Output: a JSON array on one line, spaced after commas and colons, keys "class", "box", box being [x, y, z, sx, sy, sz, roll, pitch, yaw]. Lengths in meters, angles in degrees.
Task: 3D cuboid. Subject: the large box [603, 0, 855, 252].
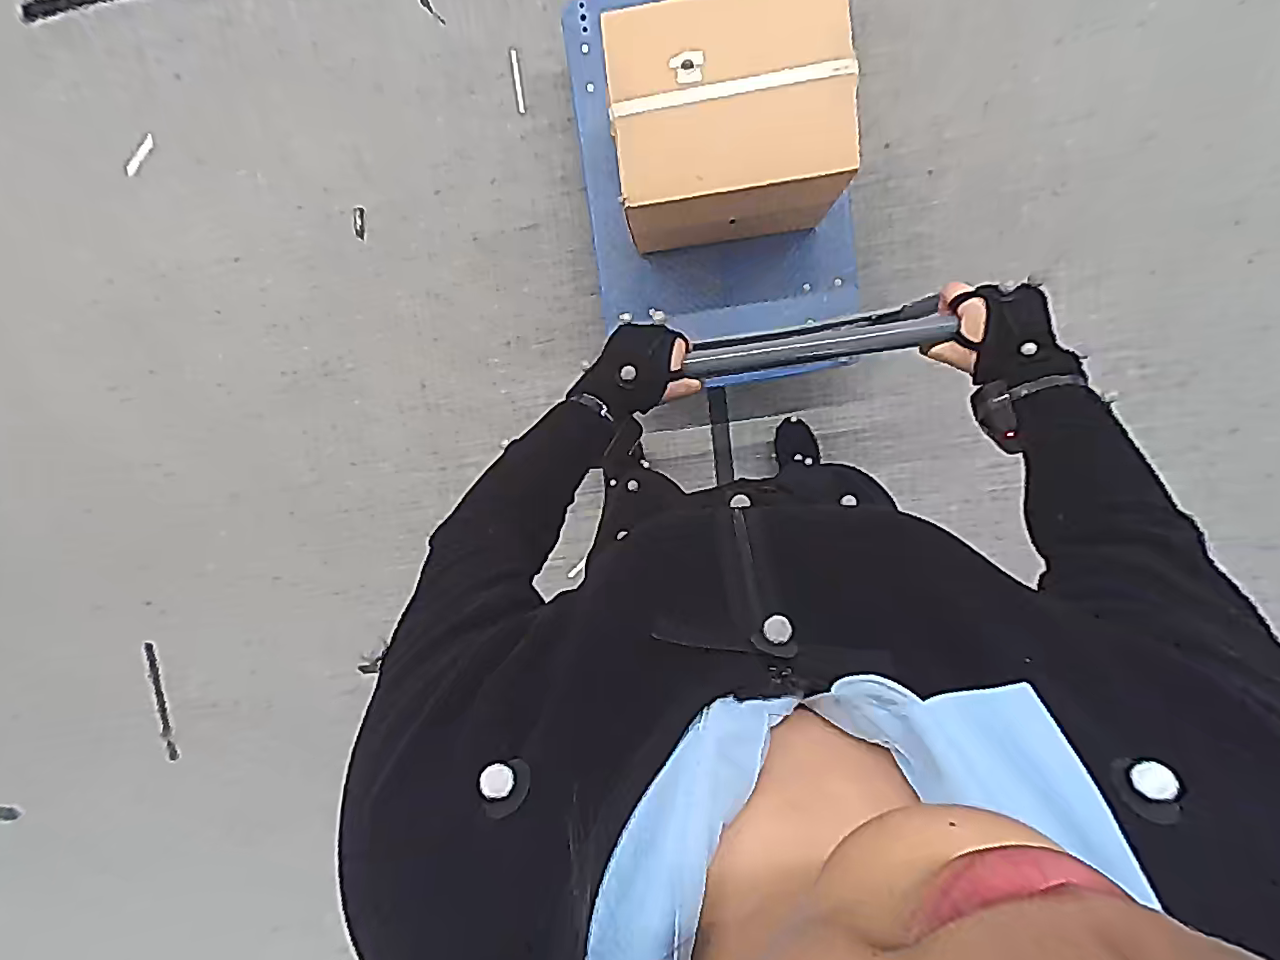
[{"class": "large box", "box": [0.167, -0.679, 1.073, 0.408, 0.320, 0.320, -7, 97, 7]}]
